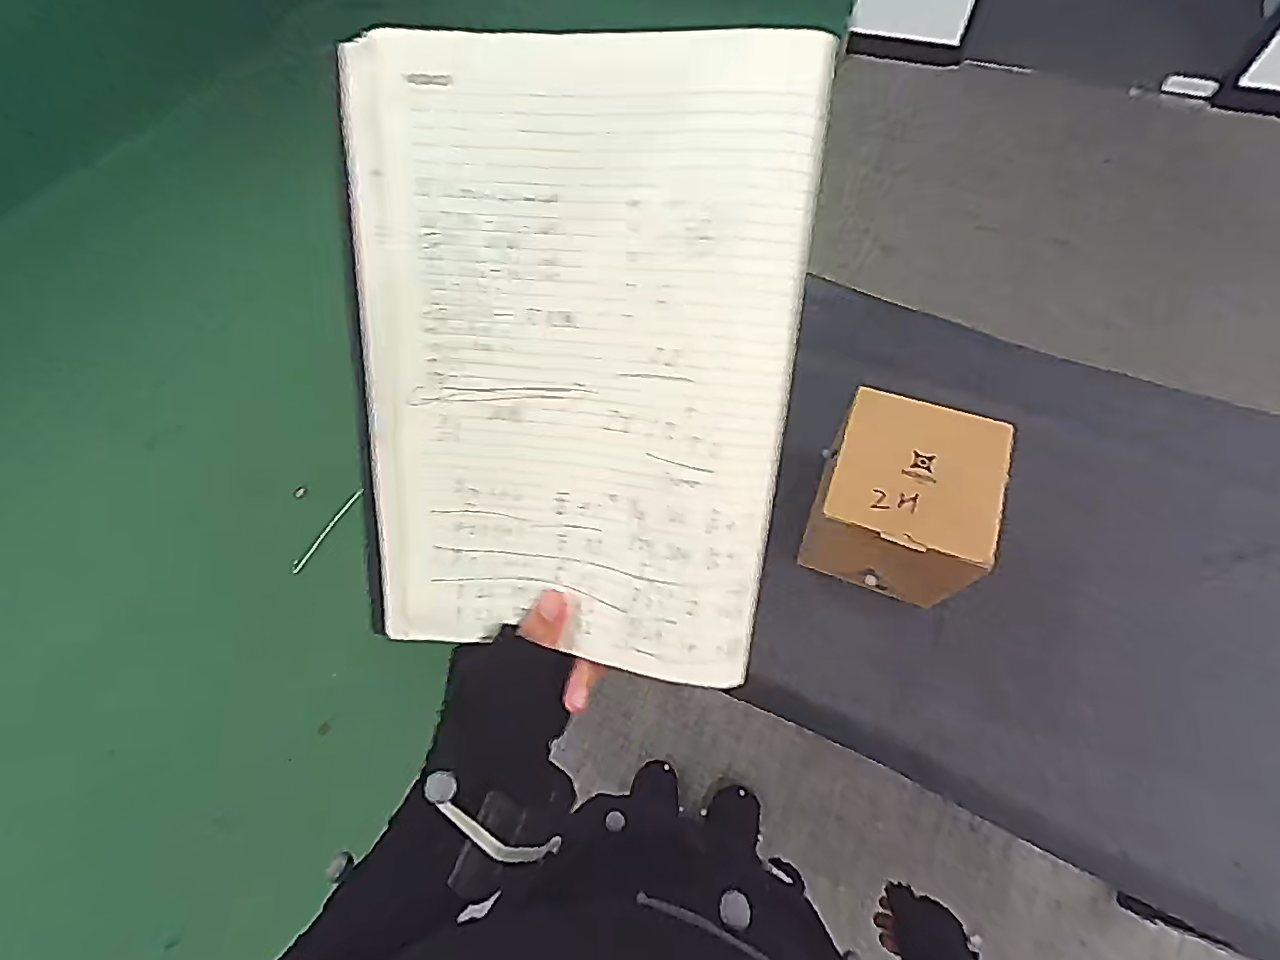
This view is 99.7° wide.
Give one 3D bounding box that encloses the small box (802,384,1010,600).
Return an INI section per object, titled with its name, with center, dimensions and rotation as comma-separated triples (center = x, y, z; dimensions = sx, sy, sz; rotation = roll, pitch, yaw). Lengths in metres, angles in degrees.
[small box]
center = 0.305, 0.020, 0.647
dimensions = 0.168, 0.176, 0.179
rotation = 18, 67, 15
